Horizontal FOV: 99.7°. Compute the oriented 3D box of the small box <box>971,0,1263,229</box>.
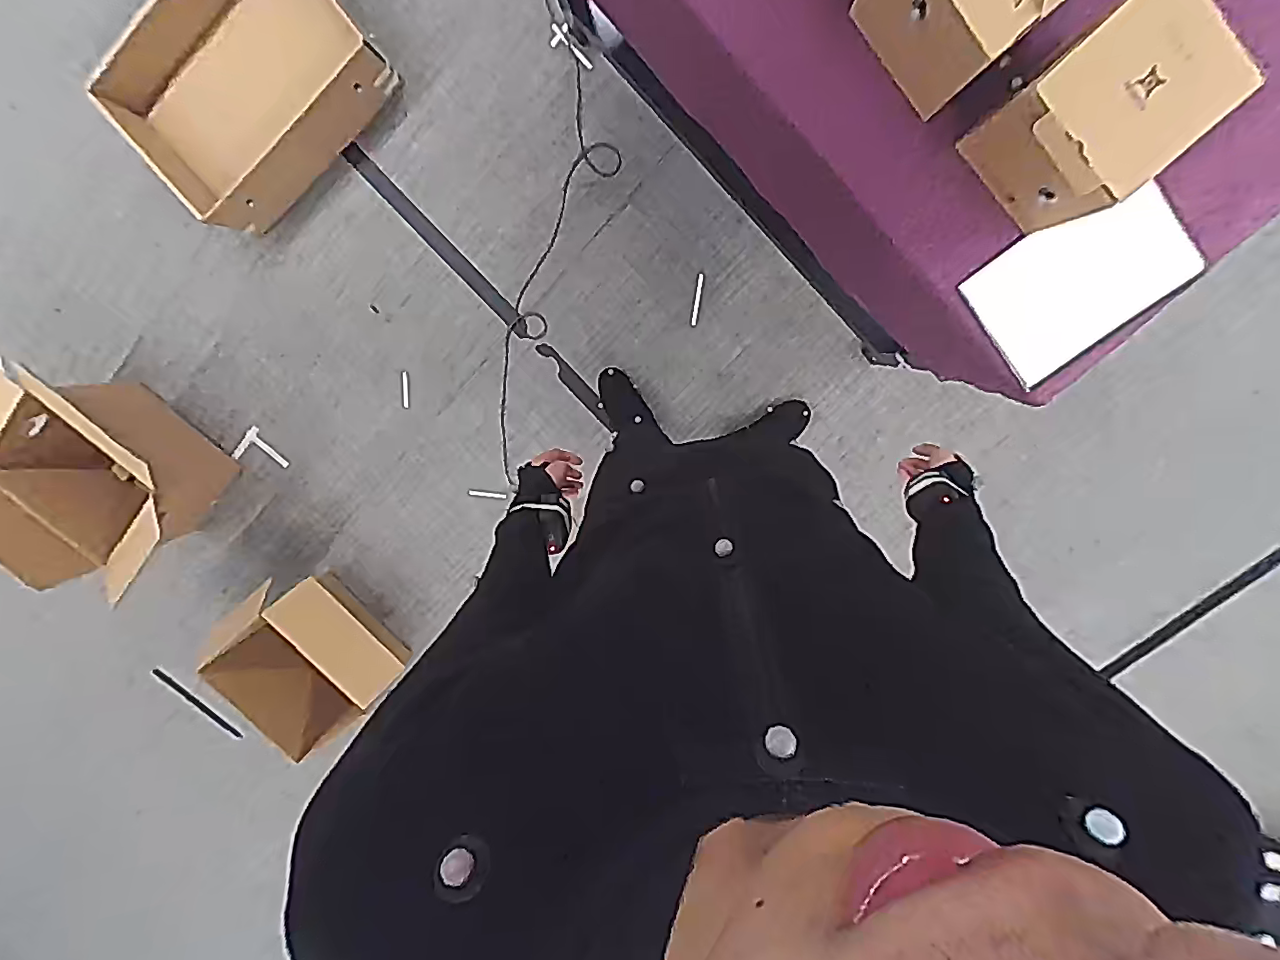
[{"bbox_3d":[0.541,-0.436,0.650,0.179,0.176,0.168,-42,98,12],"label":"small box"}]
